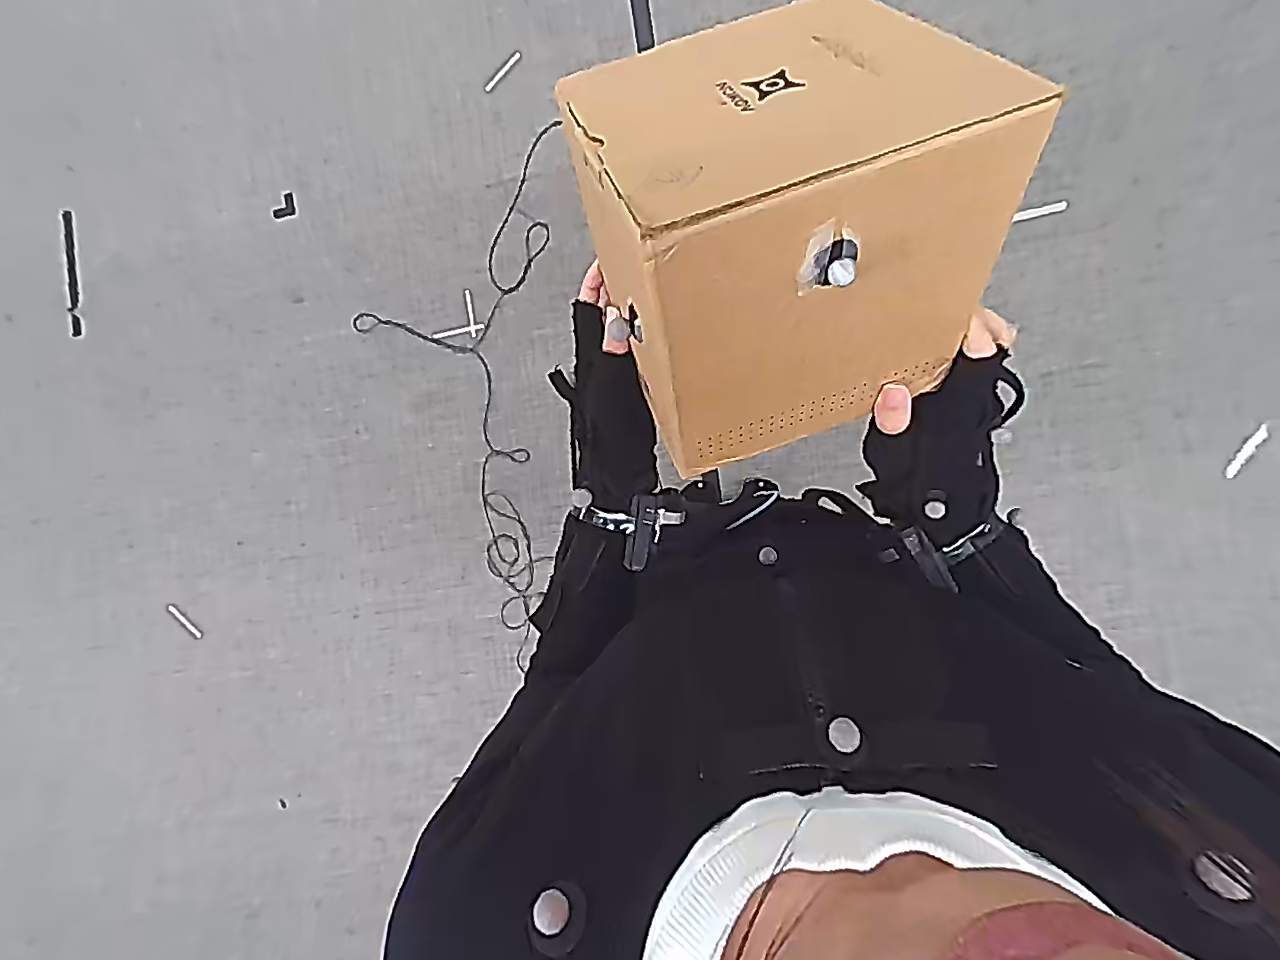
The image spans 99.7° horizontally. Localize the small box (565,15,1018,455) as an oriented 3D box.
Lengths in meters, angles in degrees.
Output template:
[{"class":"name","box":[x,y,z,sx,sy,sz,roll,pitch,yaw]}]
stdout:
[{"class":"small box","box":[0.072,-0.141,0.336,0.179,0.176,0.168,-19,54,-2]}]
